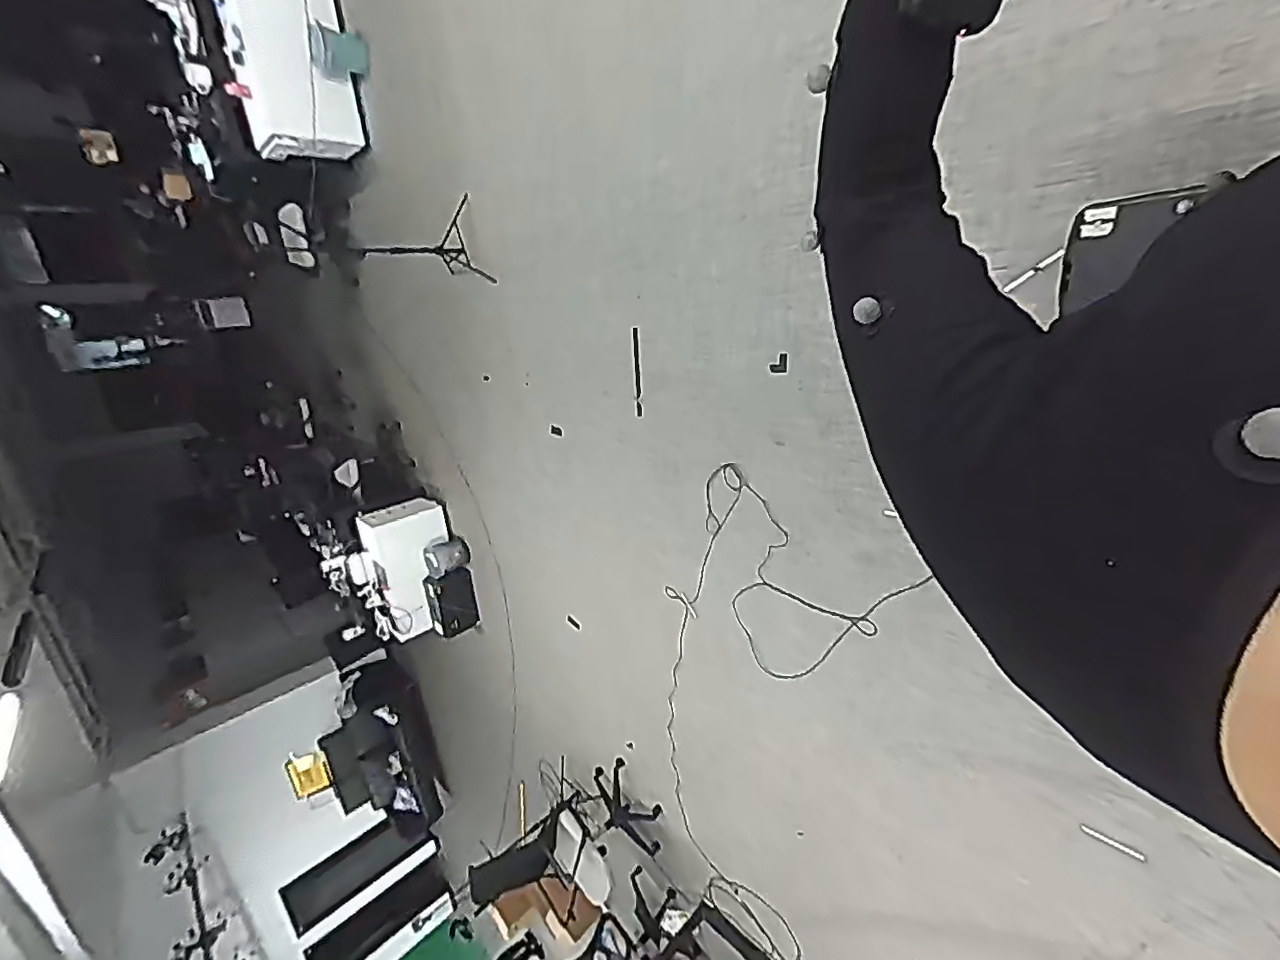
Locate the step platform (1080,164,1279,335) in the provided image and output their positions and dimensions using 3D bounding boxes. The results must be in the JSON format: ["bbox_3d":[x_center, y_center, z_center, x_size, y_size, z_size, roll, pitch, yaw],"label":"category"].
[{"bbox_3d":[1.217,-0.419,0.955,0.684,0.204,0.286,11,114,44],"label":"step platform"}]
